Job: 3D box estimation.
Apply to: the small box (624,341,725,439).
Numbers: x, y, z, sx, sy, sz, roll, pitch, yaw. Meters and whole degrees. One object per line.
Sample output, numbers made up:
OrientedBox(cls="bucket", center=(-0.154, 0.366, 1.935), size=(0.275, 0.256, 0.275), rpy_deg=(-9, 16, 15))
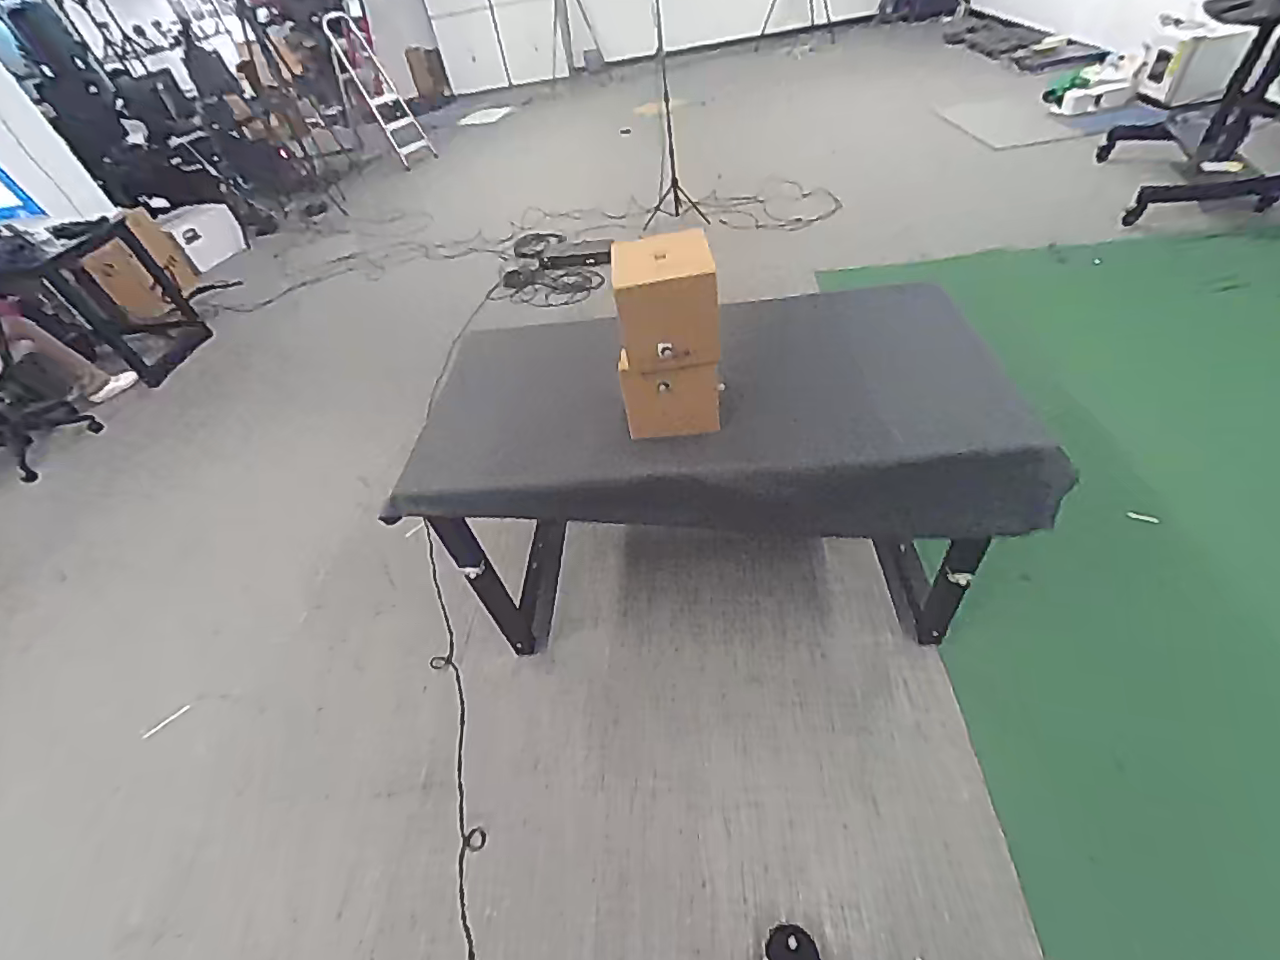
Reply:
OrientedBox(cls="small box", center=(0.072, -0.194, 1.067), size=(0.179, 0.176, 0.168), rpy_deg=(-4, 45, 8))

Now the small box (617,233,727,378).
OrientedBox(cls="small box", center=(0.056, -0.304, 0.949), size=(0.168, 0.176, 0.179), rpy_deg=(-9, 46, 6))
